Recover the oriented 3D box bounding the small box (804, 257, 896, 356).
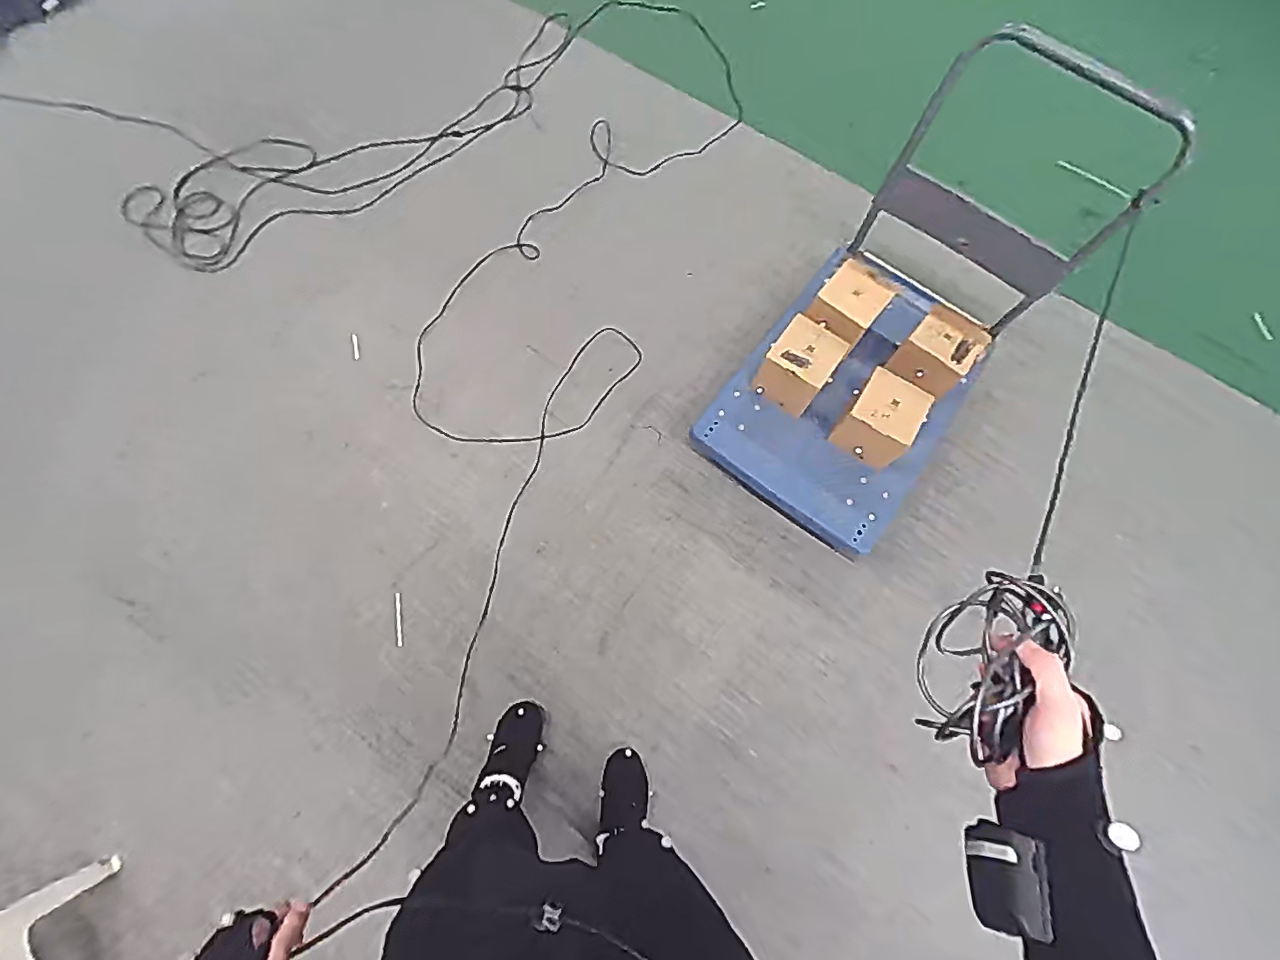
[{"bbox_3d":[0.587,-0.491,1.554,0.168,0.176,0.179,39,72,9],"label":"small box"}]

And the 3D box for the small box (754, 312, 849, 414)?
[{"bbox_3d":[0.430,-0.313,1.479,0.168,0.176,0.179,35,72,8],"label":"small box"}]

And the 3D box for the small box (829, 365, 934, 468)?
[{"bbox_3d":[0.633,-0.164,1.439,0.168,0.176,0.179,33,71,9],"label":"small box"}]
